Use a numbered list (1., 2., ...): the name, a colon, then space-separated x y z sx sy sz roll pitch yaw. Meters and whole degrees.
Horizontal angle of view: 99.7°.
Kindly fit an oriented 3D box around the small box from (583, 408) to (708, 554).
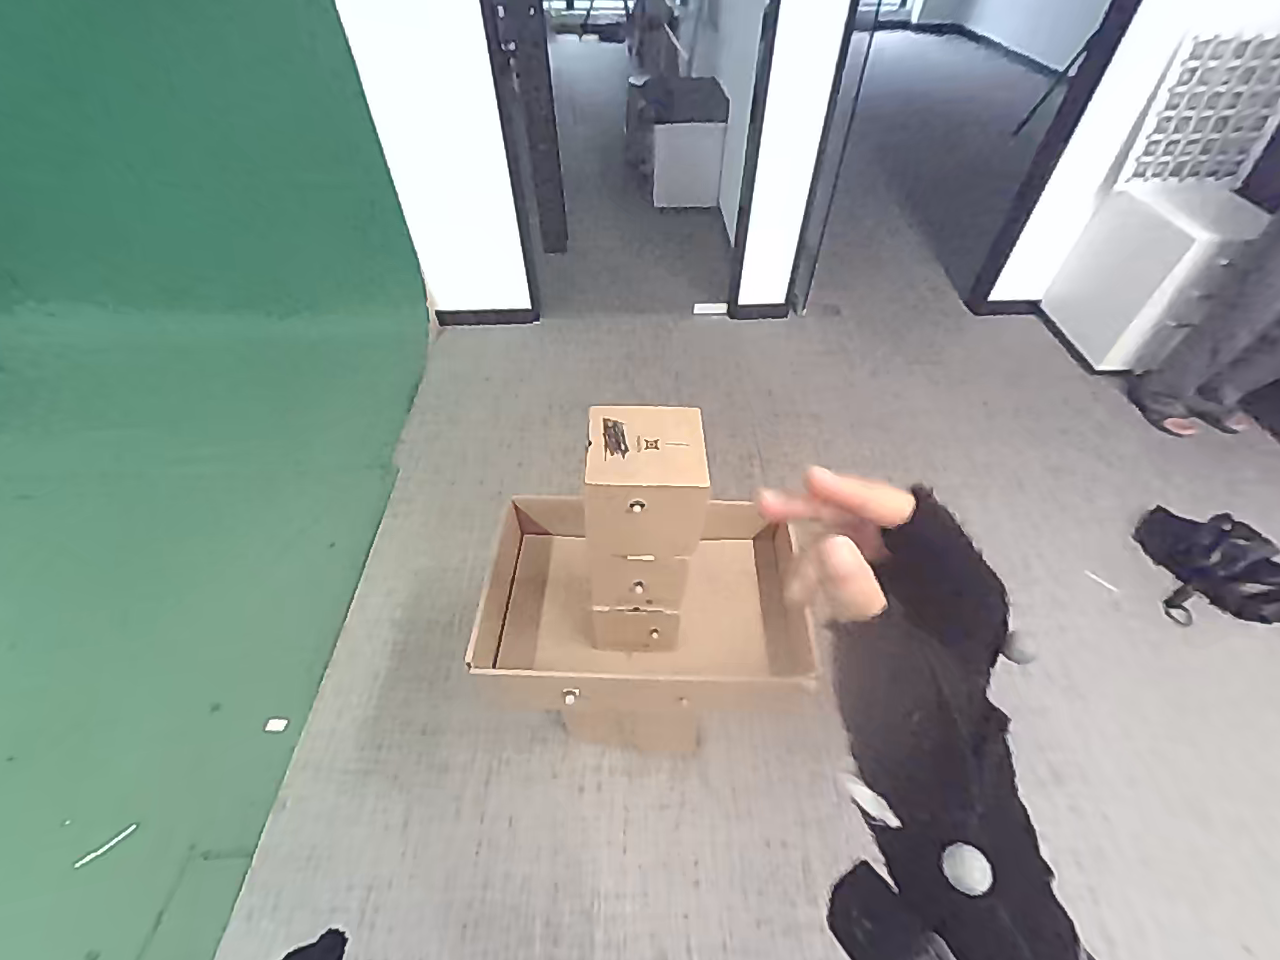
1. small box: 0.006 0.004 0.854 0.179 0.176 0.168 1 48 -2

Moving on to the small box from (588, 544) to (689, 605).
1. small box: -0.001 0.112 0.979 0.168 0.176 0.179 2 49 -1

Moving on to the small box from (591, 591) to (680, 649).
1. small box: -0.008 0.228 1.095 0.168 0.176 0.179 2 46 -1
